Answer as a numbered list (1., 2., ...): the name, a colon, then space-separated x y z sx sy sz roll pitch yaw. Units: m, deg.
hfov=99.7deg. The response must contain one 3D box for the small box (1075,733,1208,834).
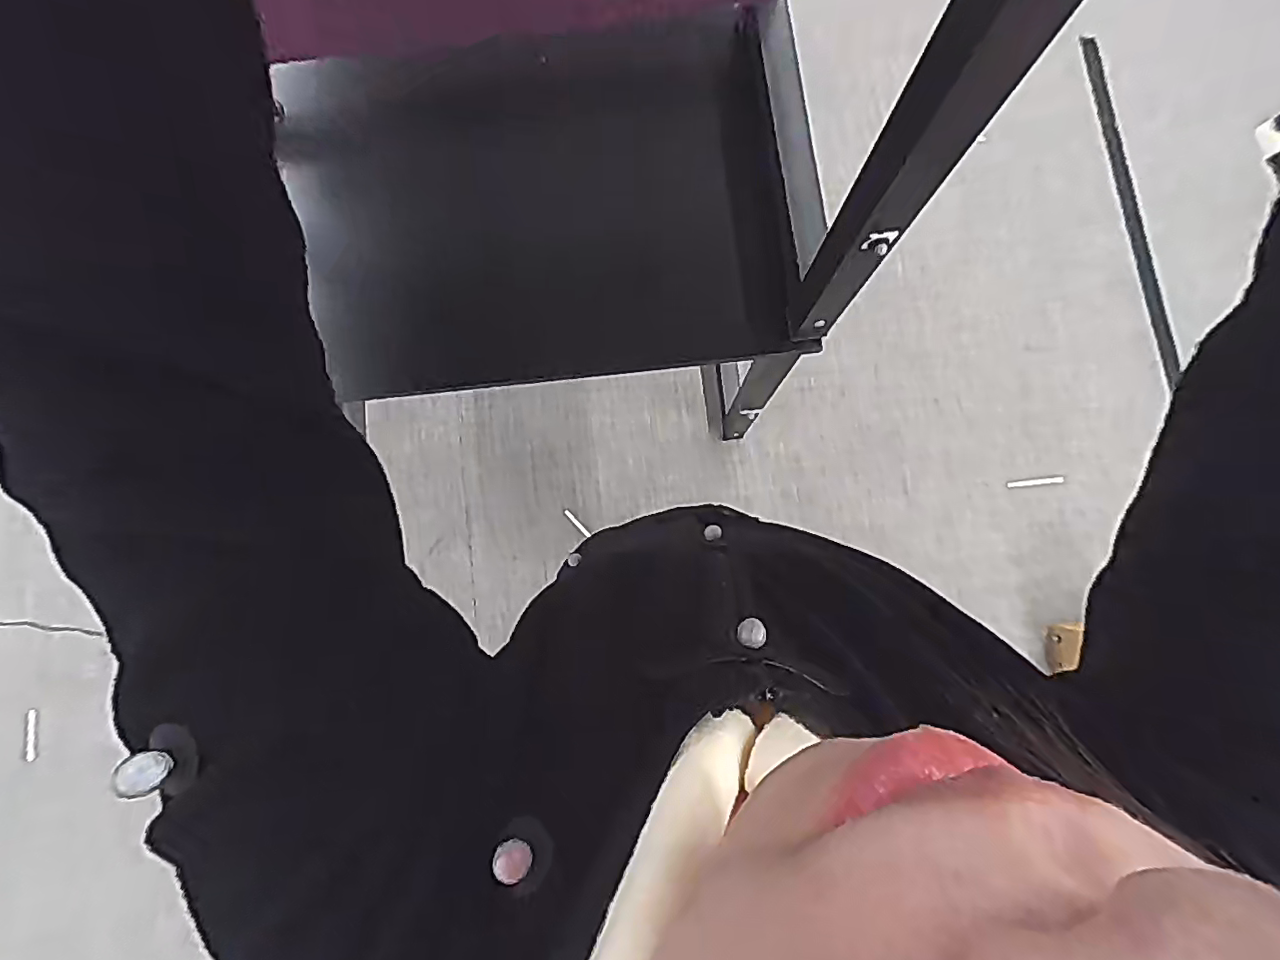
1. small box: 1.209 0.734 1.321 0.179 0.176 0.168 -1 84 1

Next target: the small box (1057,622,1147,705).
1. small box: 1.189 0.454 1.353 0.179 0.176 0.168 -4 83 1
